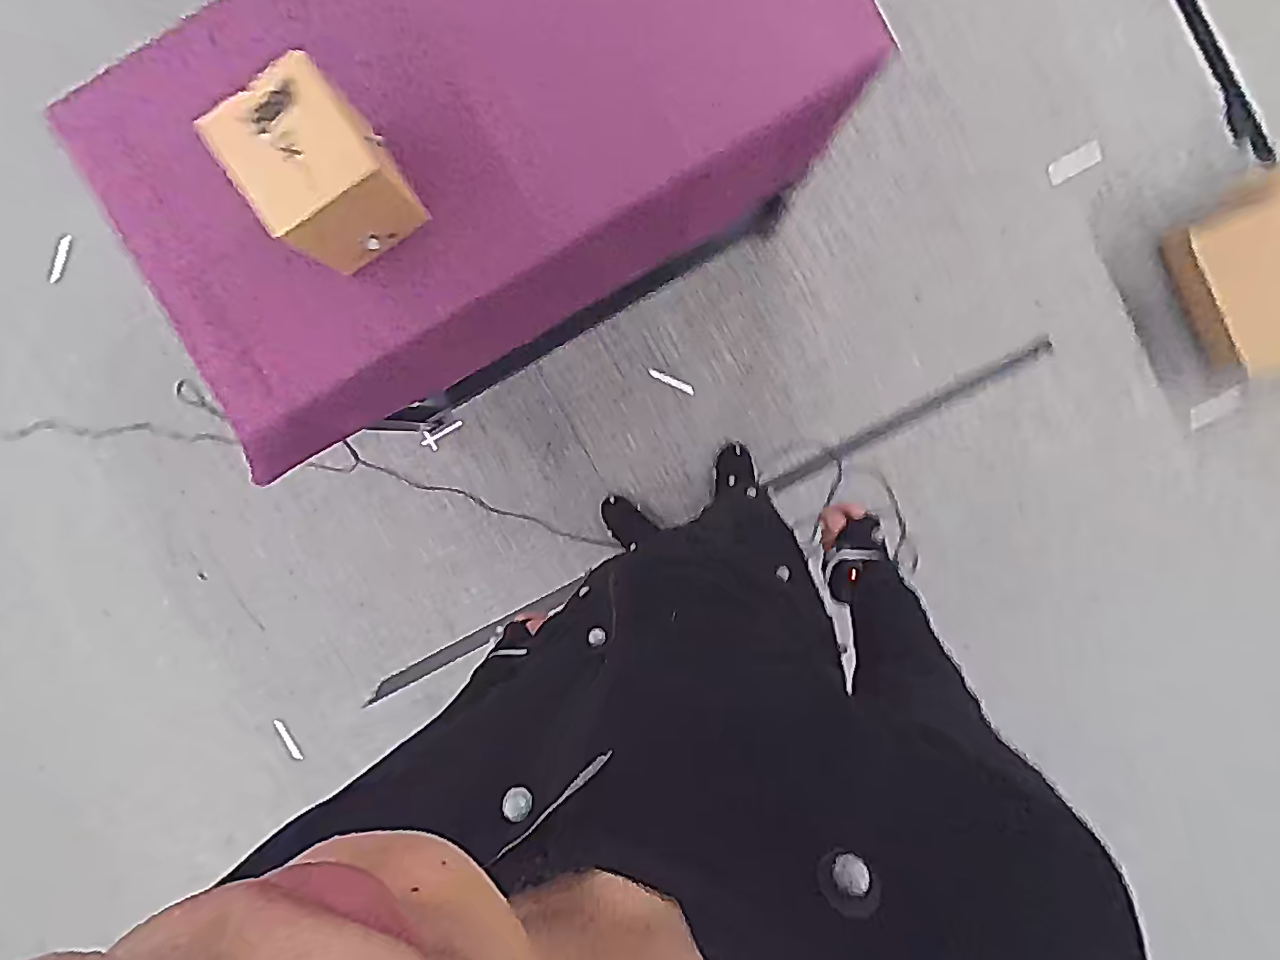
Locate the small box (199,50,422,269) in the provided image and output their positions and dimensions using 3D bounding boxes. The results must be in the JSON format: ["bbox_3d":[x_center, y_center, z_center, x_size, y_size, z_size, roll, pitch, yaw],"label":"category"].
[{"bbox_3d":[-0.453,-0.439,0.773,0.168,0.176,0.179,-34,93,4],"label":"small box"}]
